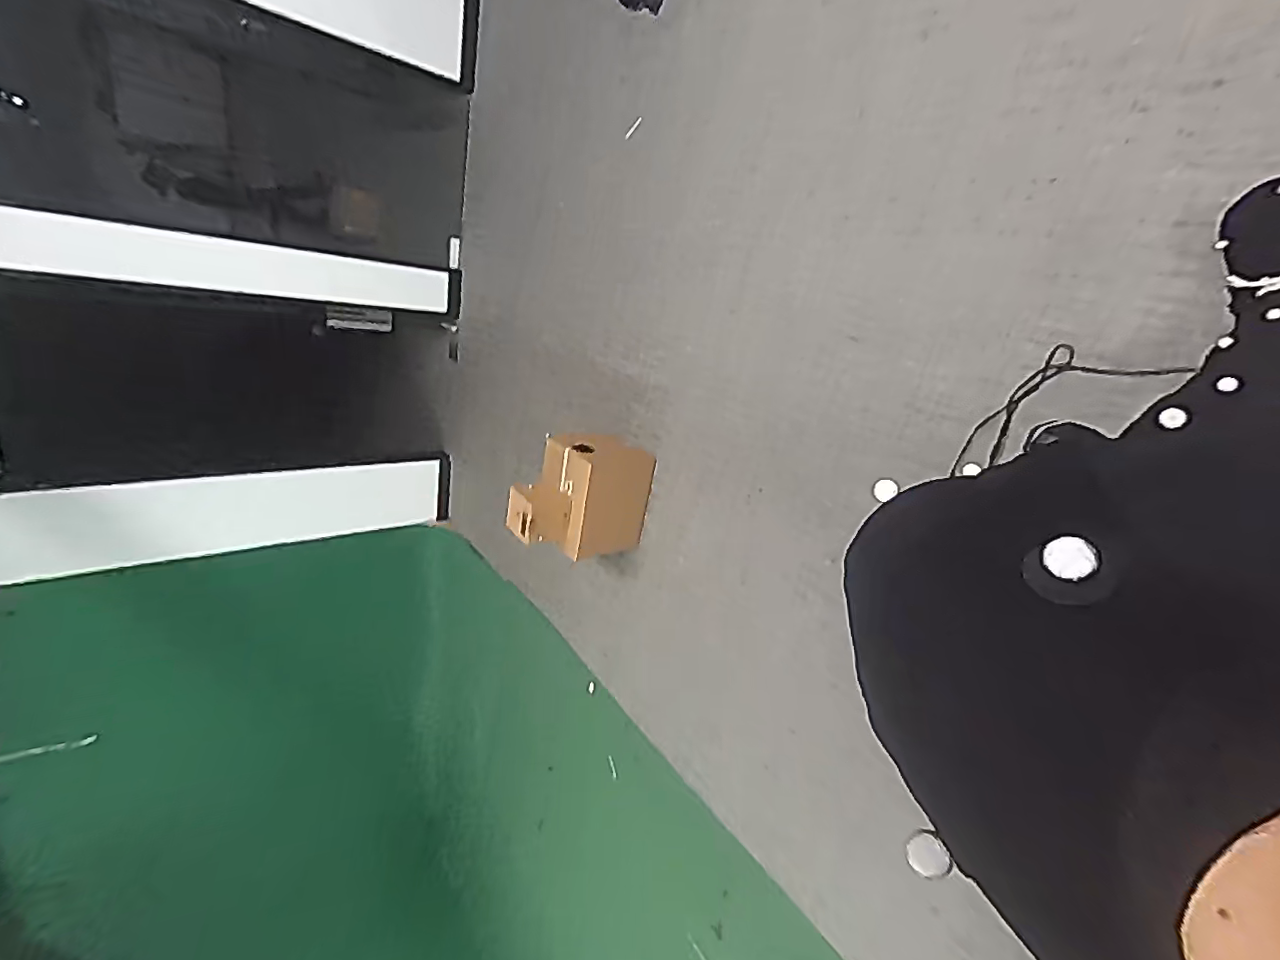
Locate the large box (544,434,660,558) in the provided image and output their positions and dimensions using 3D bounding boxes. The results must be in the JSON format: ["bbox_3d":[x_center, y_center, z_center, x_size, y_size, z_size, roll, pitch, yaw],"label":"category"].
[{"bbox_3d":[-0.157,0.050,2.167,0.320,0.320,0.408,31,117,43],"label":"large box"}]
